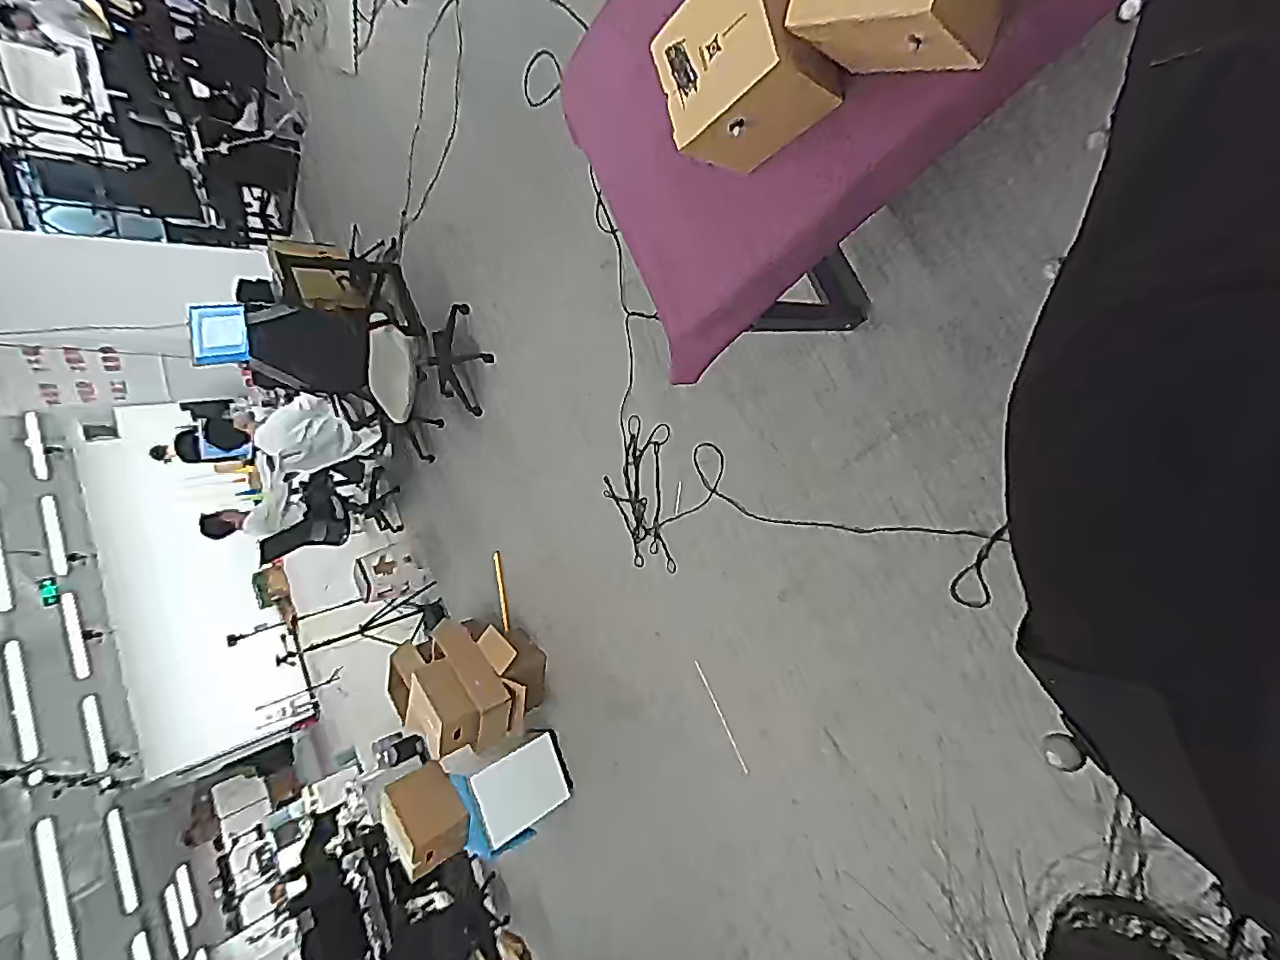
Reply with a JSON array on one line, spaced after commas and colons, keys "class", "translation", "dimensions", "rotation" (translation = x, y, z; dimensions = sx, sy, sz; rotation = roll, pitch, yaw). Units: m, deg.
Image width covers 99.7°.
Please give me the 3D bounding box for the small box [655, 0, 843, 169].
[{"class": "small box", "translation": [0.153, -0.576, 0.763], "dimensions": [0.179, 0.176, 0.168], "rotation": [-16, 89, 48]}]
